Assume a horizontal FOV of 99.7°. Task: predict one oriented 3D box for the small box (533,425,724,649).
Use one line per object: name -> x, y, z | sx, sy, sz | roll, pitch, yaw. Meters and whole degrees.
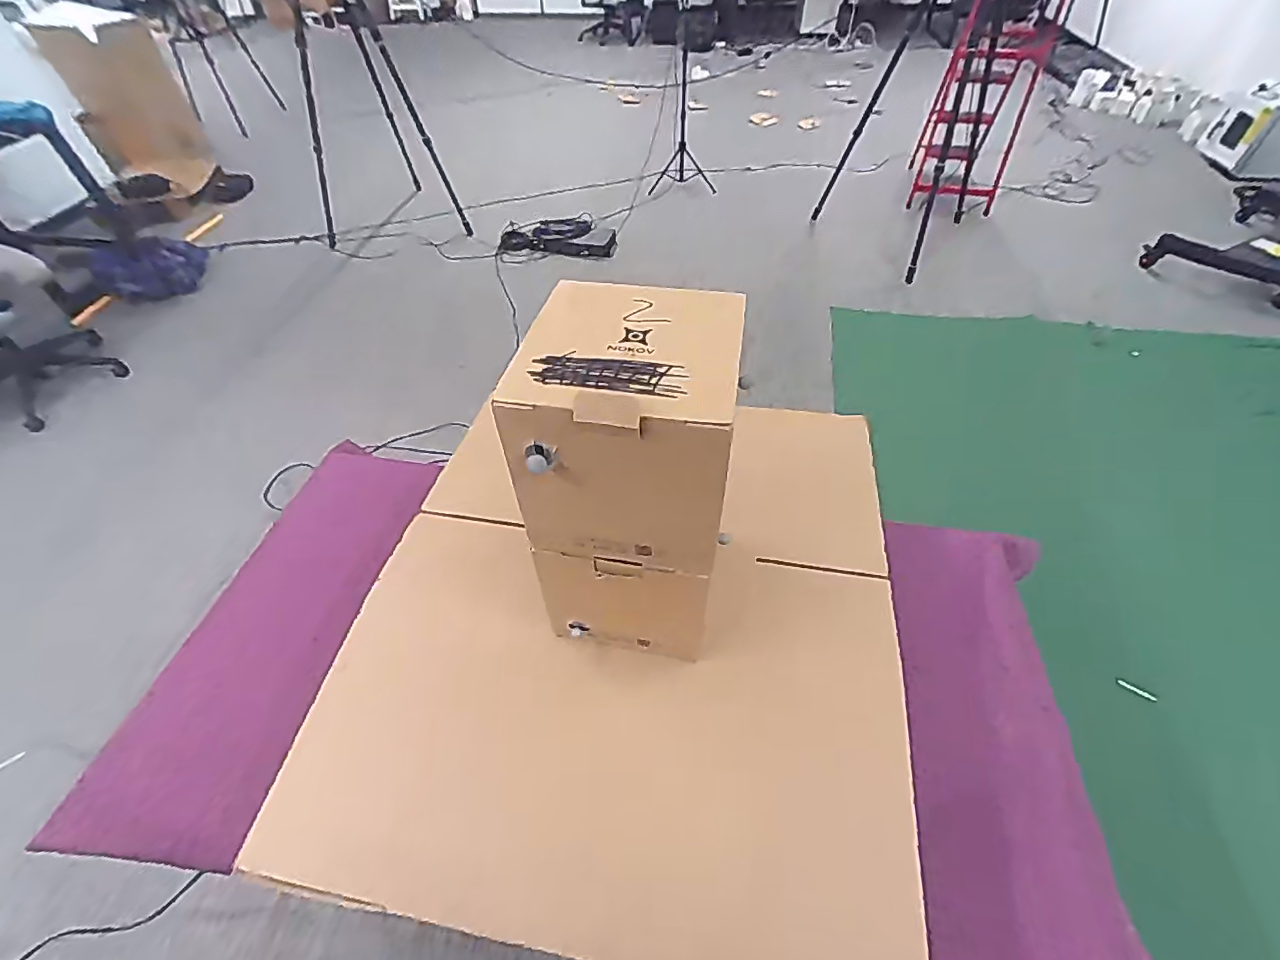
small box -> -0.002, 0.065, 0.587 | 0.168, 0.176, 0.179 | 6, 49, 6
